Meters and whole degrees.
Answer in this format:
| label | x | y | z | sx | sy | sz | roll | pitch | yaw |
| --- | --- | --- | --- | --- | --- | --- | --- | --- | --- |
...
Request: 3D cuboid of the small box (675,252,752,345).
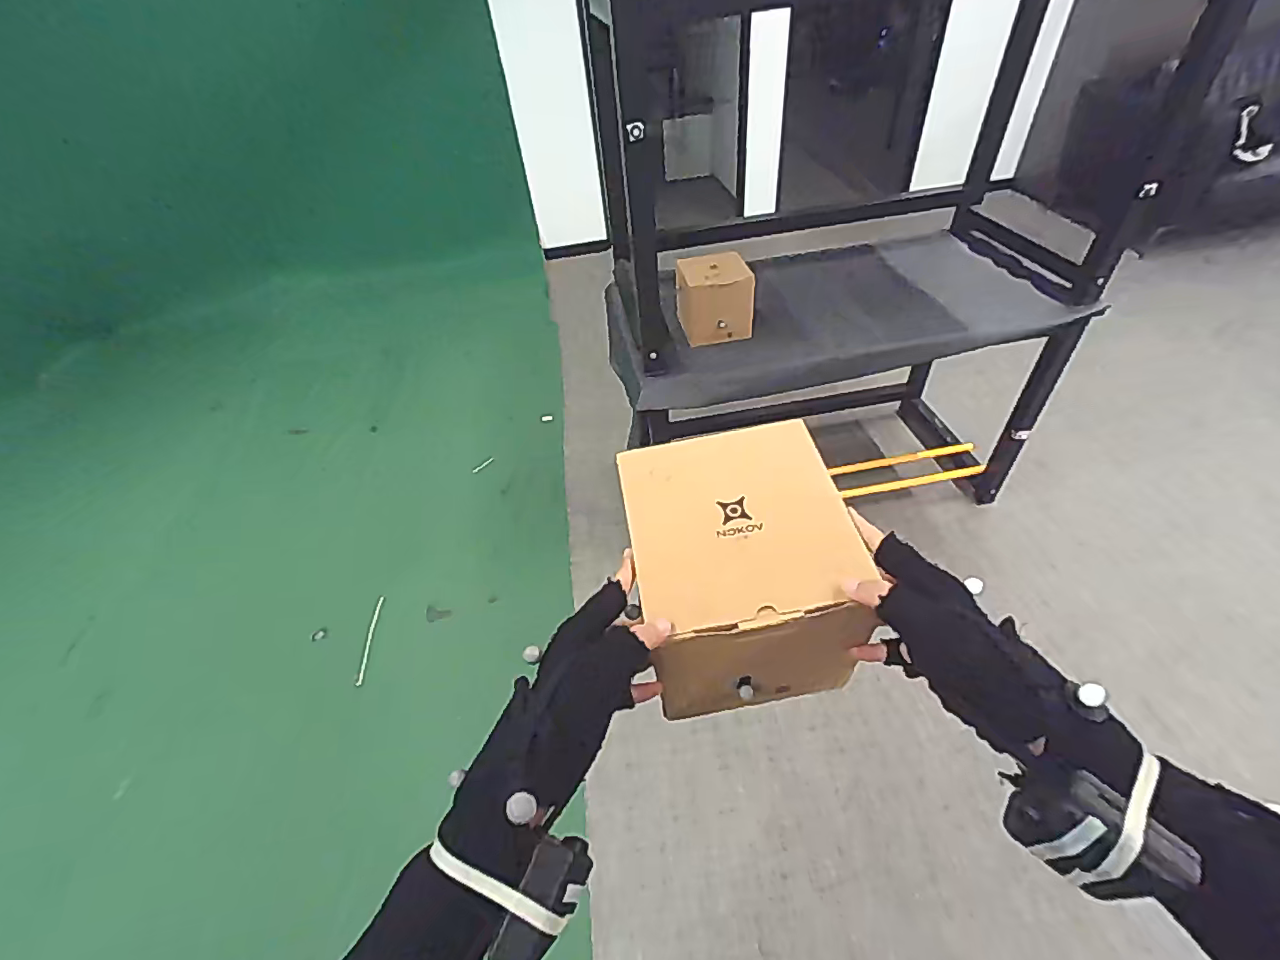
| label | x | y | z | sx | sy | sz | roll | pitch | yaw |
| --- | --- | --- | --- | --- | --- | --- | --- | --- | --- |
| small box | 0.189 | -0.479 | 1.432 | 0.168 | 0.176 | 0.179 | -10 | 43 | -2 |
